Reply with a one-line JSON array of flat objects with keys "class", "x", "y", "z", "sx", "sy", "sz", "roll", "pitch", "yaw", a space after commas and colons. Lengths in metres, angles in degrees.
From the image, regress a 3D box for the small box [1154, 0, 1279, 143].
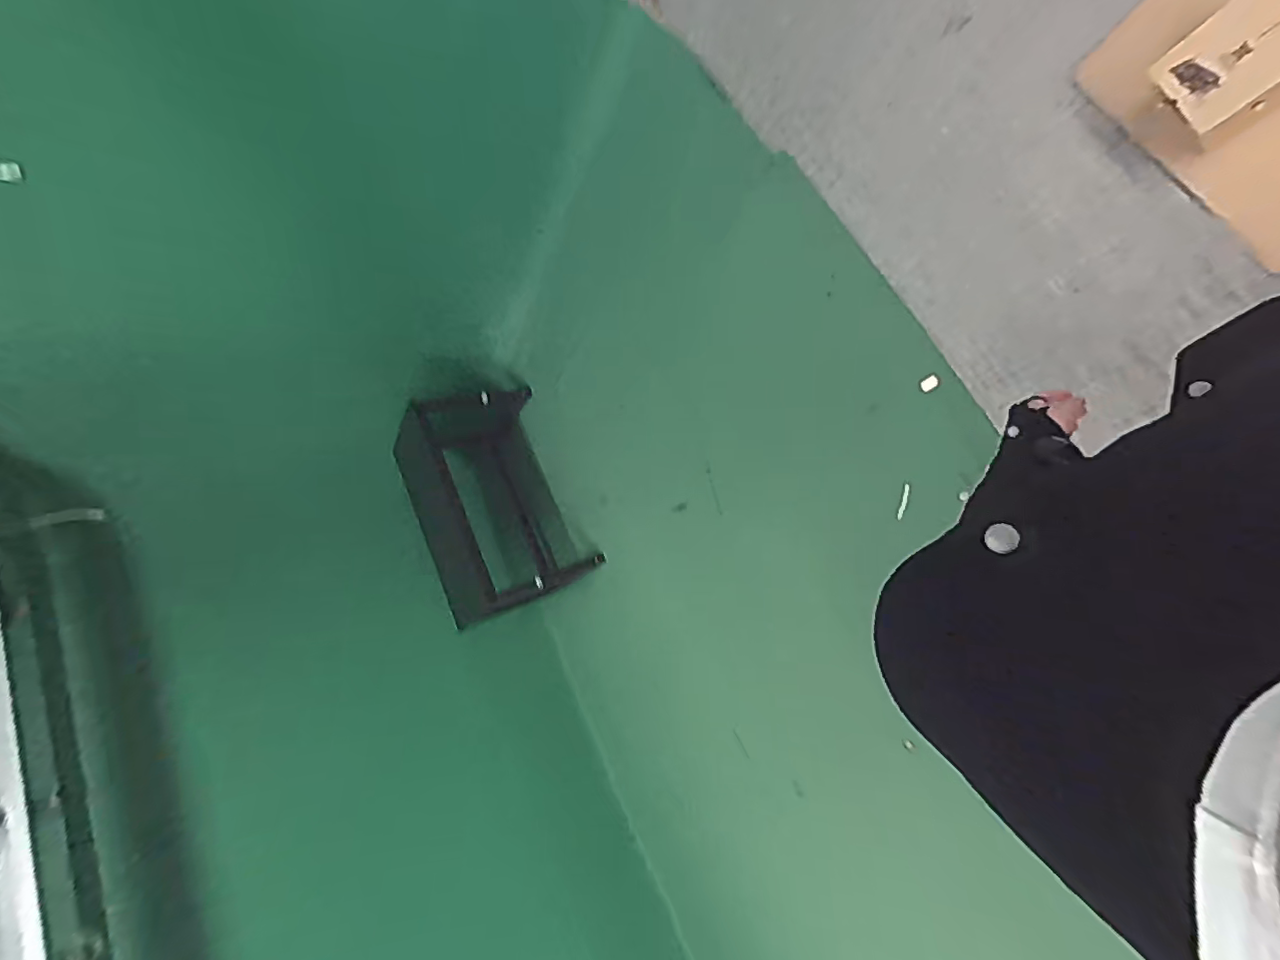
[{"class": "small box", "x": 1.091, "y": -0.747, "z": 0.971, "sx": 0.179, "sy": 0.176, "sz": 0.168, "roll": -39, "pitch": 71, "yaw": 49}]
